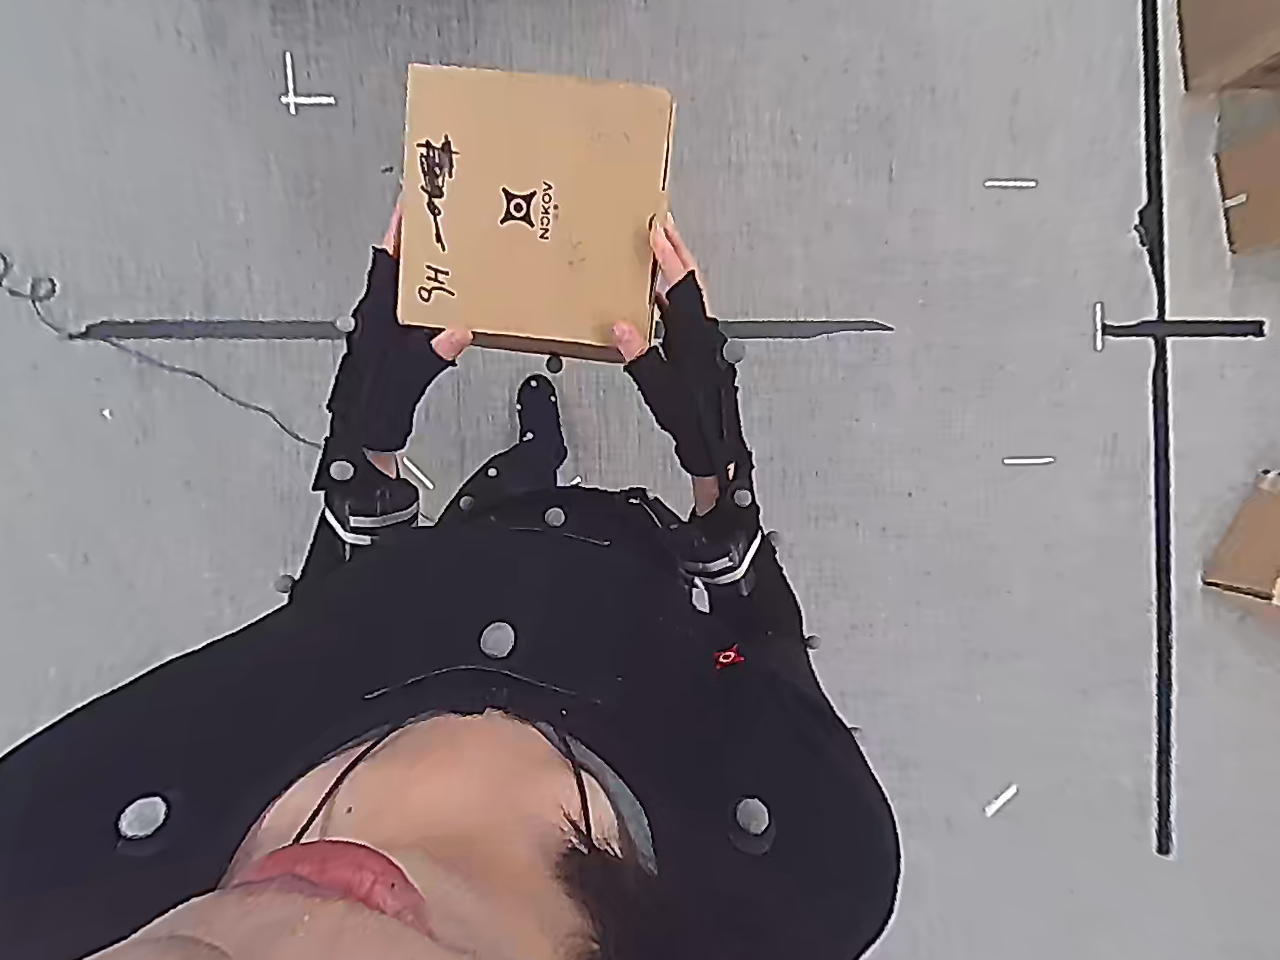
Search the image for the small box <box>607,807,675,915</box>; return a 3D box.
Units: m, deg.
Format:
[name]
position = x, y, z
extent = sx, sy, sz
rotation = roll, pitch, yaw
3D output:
[small box]
position = -0.001, 1.016, 1.452
extent = 0.168, 0.176, 0.179
rotation = 1, 90, -6
